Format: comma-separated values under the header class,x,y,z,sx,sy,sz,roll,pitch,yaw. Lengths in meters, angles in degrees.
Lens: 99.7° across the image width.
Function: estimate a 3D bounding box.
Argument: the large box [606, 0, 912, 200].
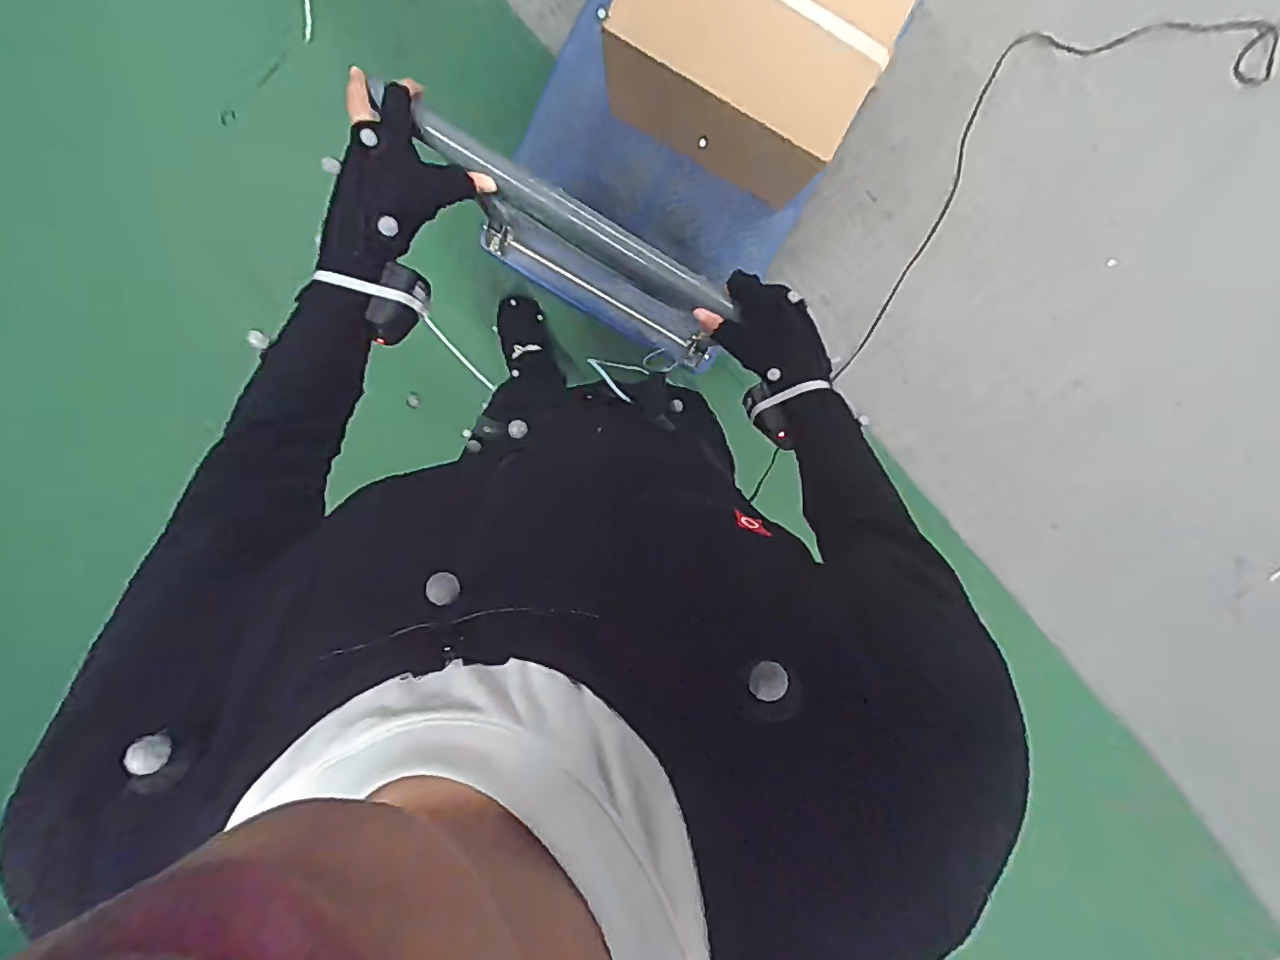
class,x,y,z,sx,sy,sz,roll,pitch,yaw
large box,0.195,-0.764,0.947,0.408,0.320,0.320,26,102,-6
